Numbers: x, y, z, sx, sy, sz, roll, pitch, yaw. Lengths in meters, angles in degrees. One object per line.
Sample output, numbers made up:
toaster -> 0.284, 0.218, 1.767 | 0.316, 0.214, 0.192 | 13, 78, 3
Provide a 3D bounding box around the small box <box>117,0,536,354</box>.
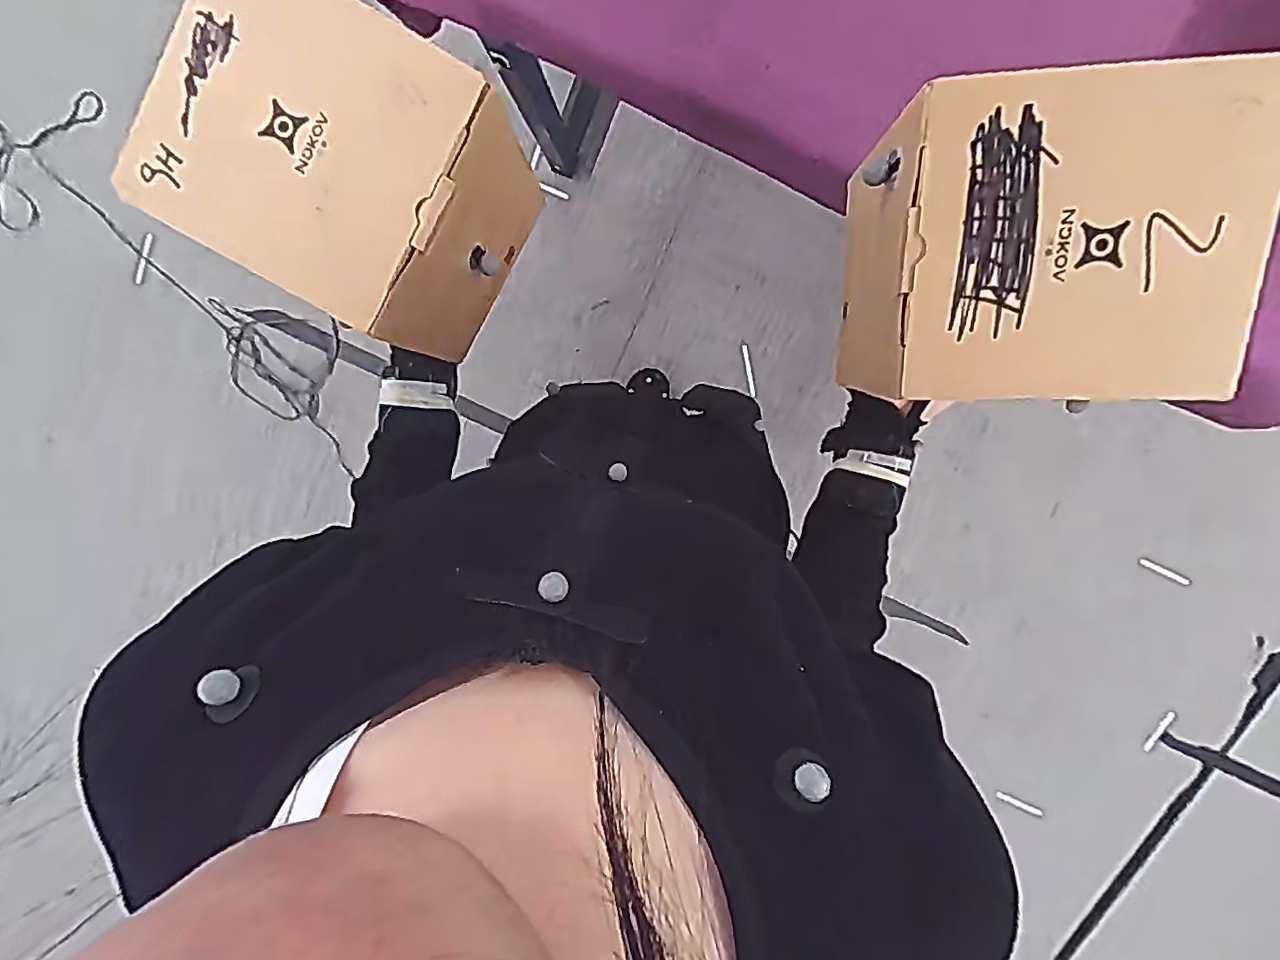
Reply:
small box -> -0.196, -0.206, 0.396 | 0.179, 0.176, 0.168 | 29, 95, -3
